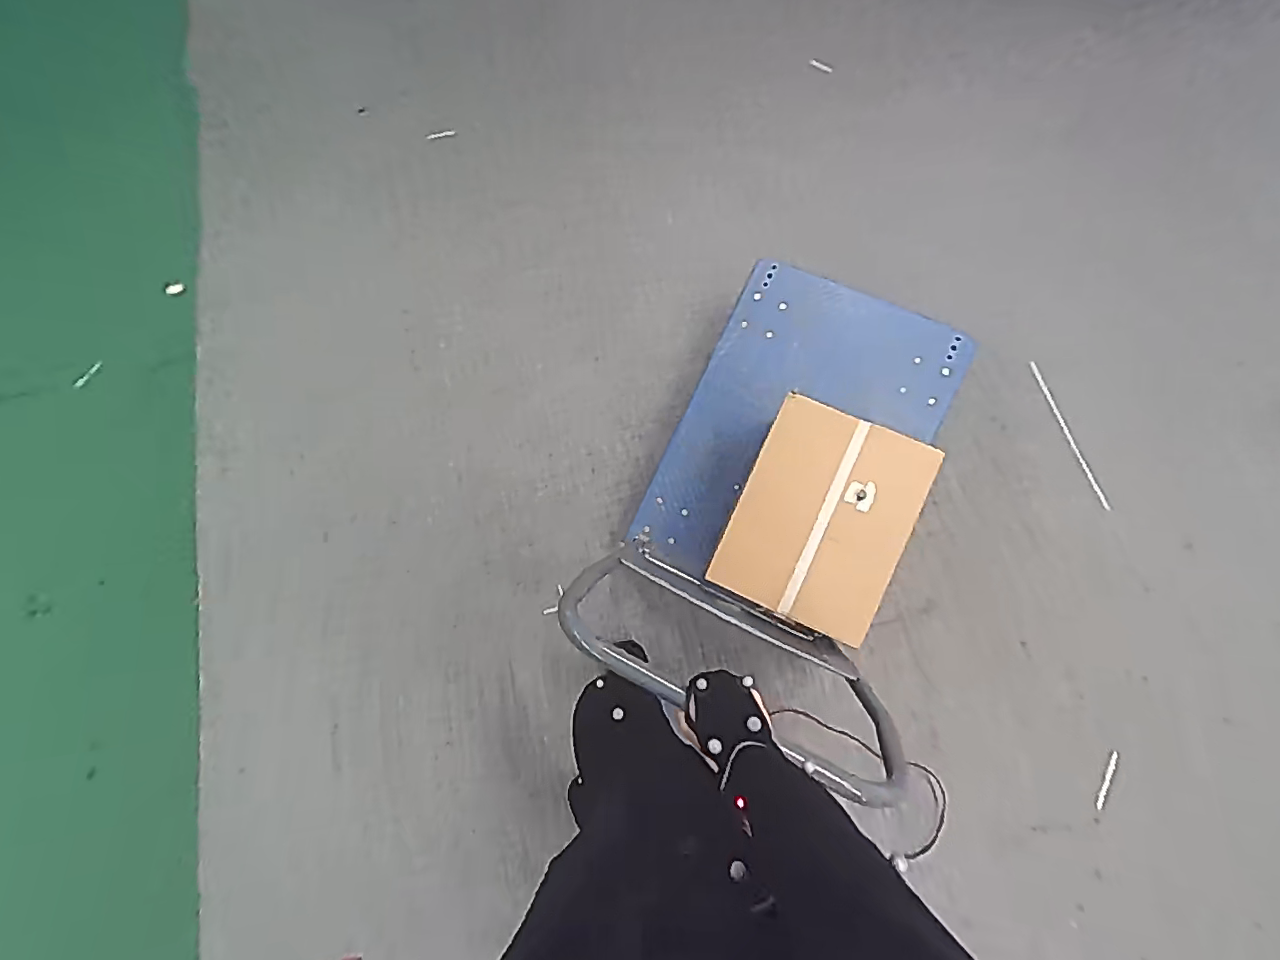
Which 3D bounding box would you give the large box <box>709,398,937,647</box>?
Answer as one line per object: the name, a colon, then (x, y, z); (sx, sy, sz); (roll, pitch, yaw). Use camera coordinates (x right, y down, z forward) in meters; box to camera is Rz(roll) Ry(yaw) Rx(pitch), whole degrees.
large box: (0.368, 0.092, 1.185); (0.320, 0.320, 0.408); (24, 88, 9)
